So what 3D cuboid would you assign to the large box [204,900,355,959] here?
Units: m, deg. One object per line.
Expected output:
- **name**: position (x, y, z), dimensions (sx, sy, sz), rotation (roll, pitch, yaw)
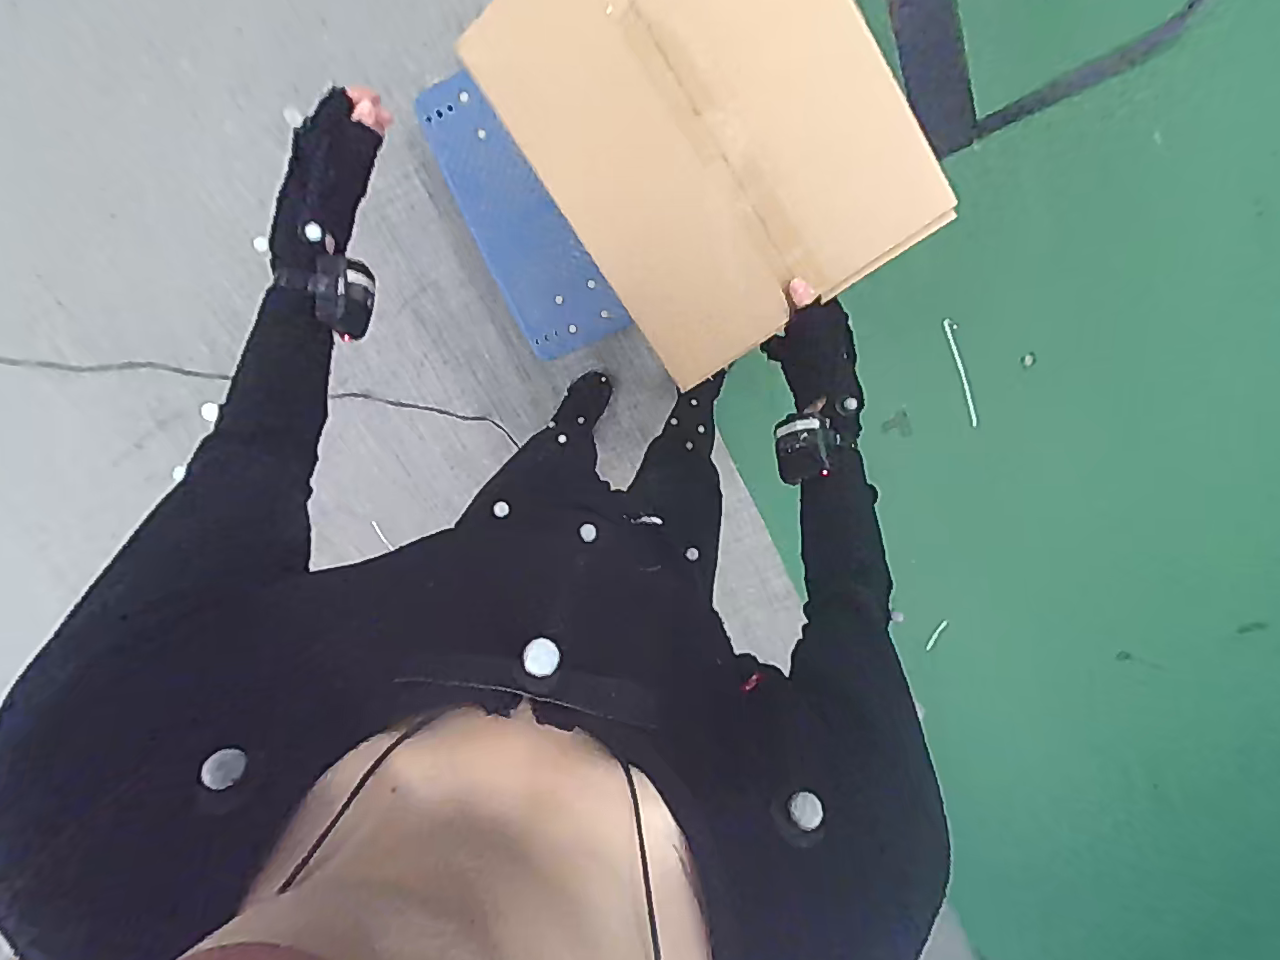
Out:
- **large box**: position (-1.276, 1.763, 1.852), dimensions (0.320, 0.320, 0.408), rotation (-25, 107, 6)
